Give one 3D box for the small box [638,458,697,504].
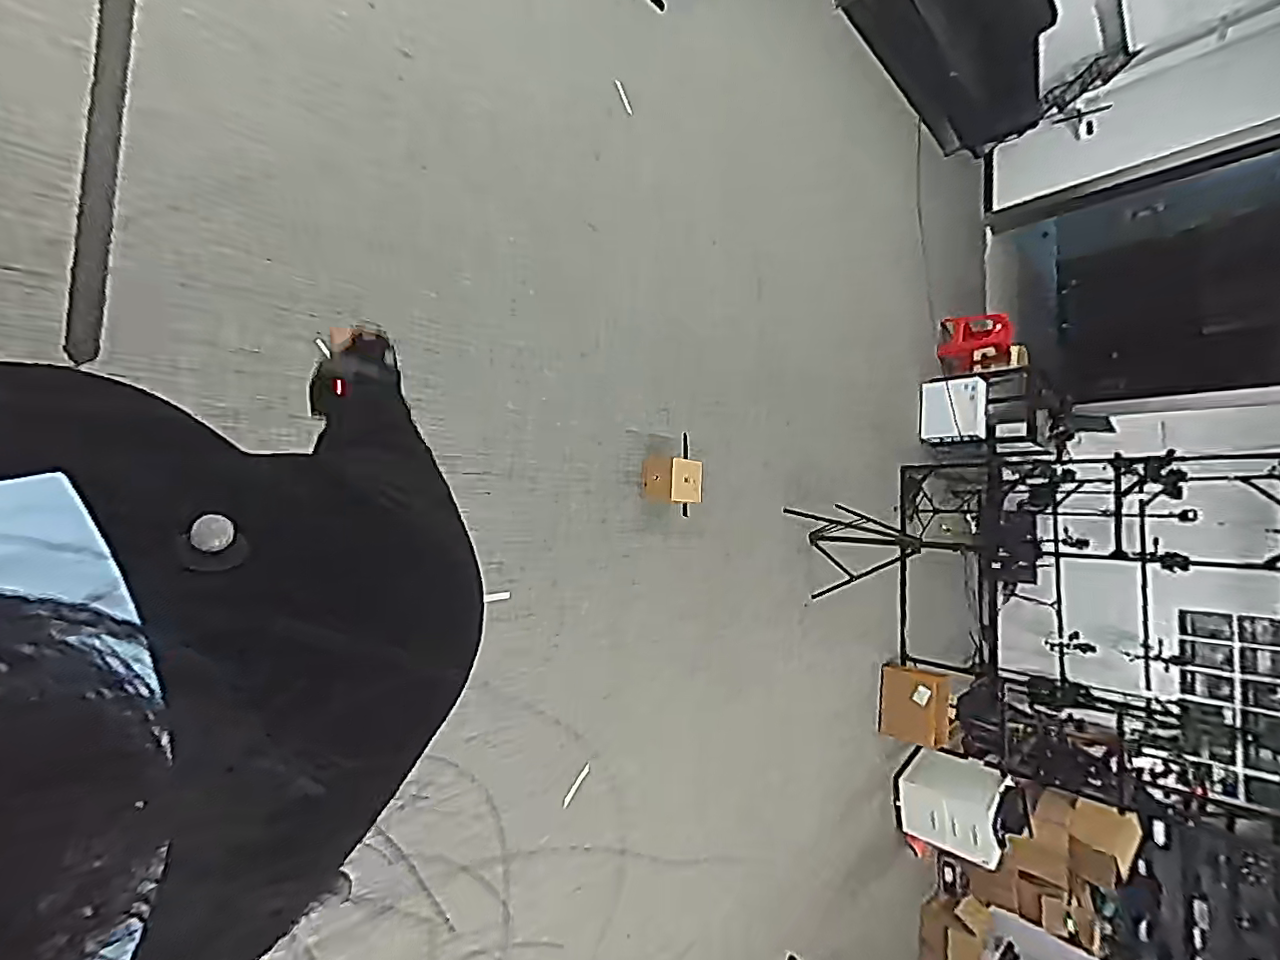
[{"bbox_3d":[0.107,0.009,2.157,0.179,0.176,0.168,8,84,-45],"label":"small box"}]
